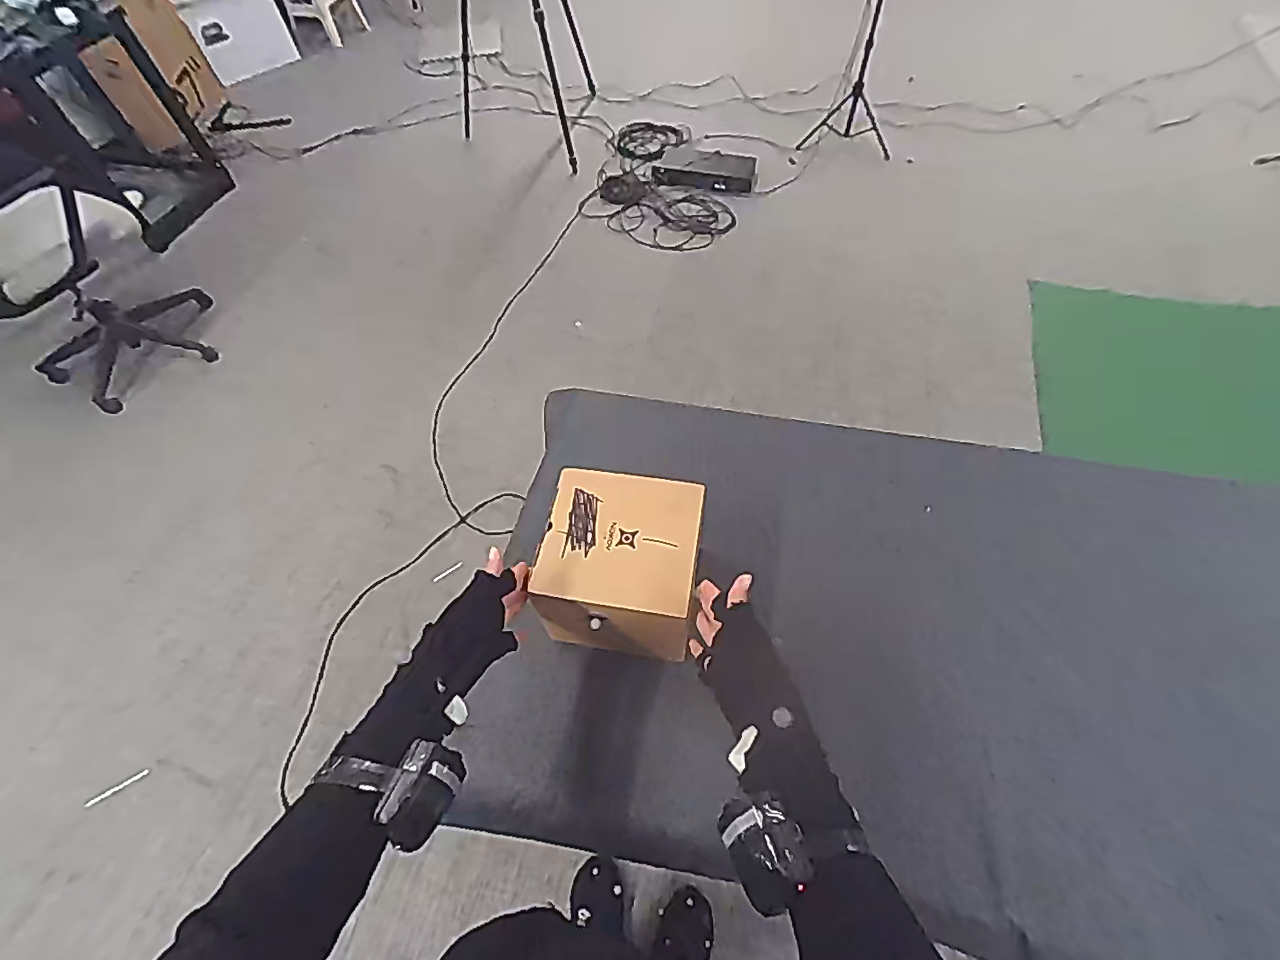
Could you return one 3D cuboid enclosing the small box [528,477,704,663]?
[{"bbox_3d":[-0.019,0.117,0.676,0.179,0.176,0.168,7,57,7],"label":"small box"}]
